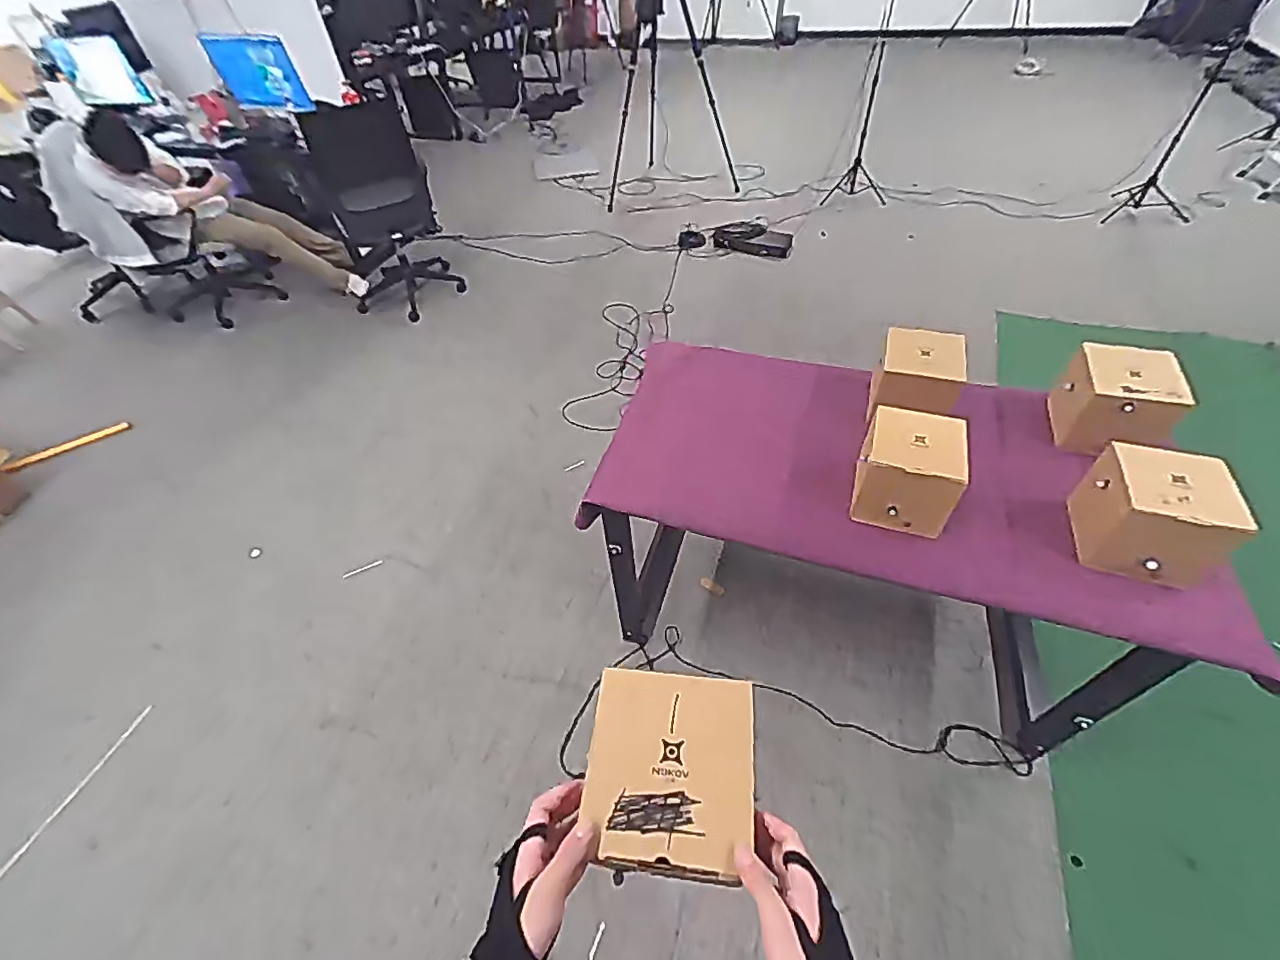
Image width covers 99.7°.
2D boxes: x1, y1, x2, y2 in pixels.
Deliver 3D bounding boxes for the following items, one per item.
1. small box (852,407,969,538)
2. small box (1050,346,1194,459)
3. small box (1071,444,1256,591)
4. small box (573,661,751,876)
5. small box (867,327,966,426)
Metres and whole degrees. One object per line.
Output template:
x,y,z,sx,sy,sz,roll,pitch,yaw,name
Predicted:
0.532,-0.015,1.078,0.168,0.176,0.179,14,50,16,small box
1.022,-0.163,1.168,0.168,0.176,0.179,11,51,17,small box
0.913,0.066,0.970,0.168,0.176,0.179,13,49,17,small box
0.033,0.323,0.602,0.168,0.176,0.179,4,52,7,small box
0.640,-0.227,1.262,0.168,0.176,0.179,13,52,16,small box
